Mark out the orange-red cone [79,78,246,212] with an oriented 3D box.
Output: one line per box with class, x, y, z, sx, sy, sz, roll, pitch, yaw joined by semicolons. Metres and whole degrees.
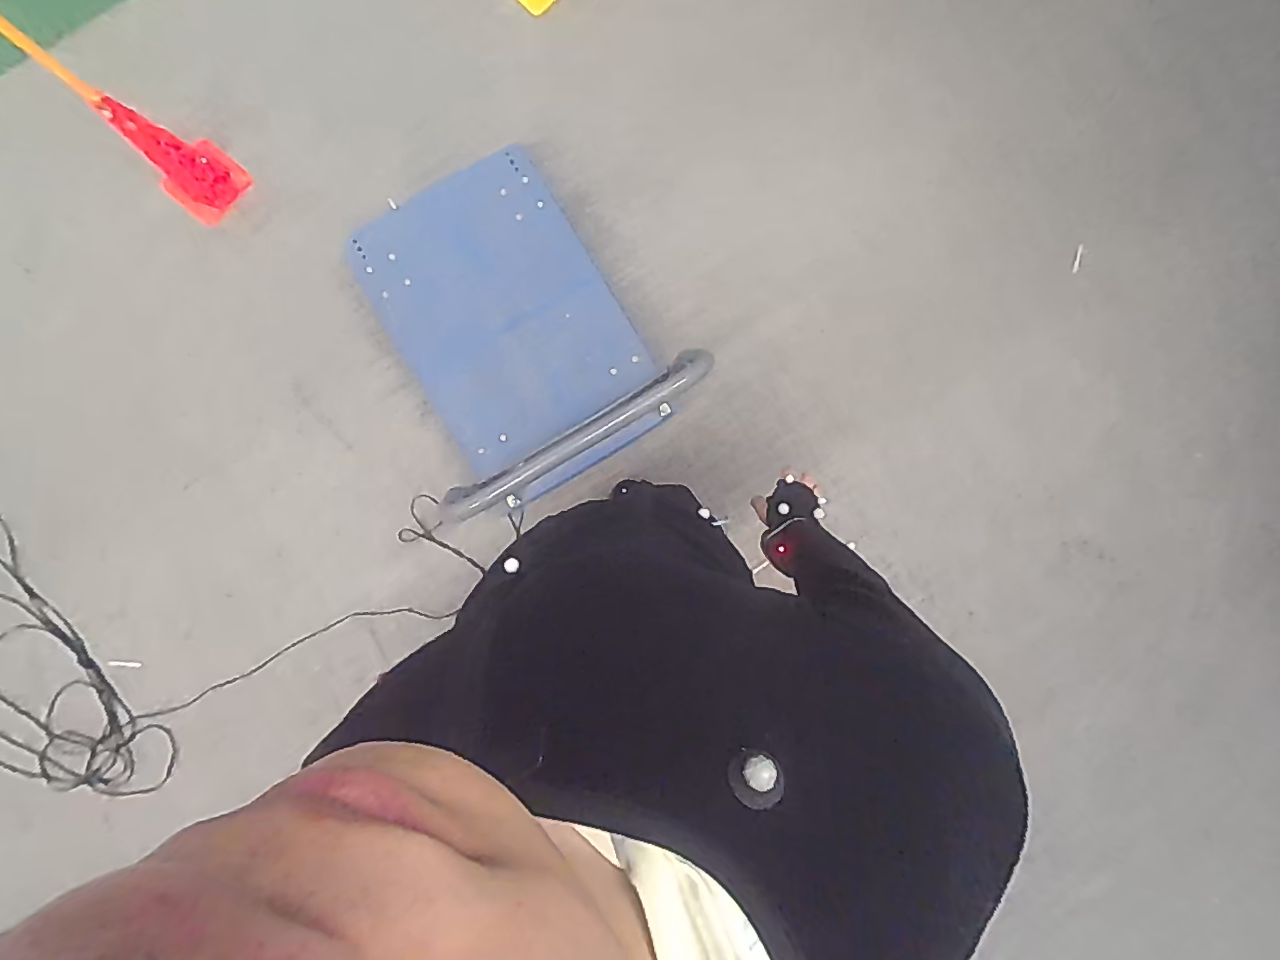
orange-red cone;-1.295;-0.919;1.436;0.198;0.360;0.199;41;90;0
